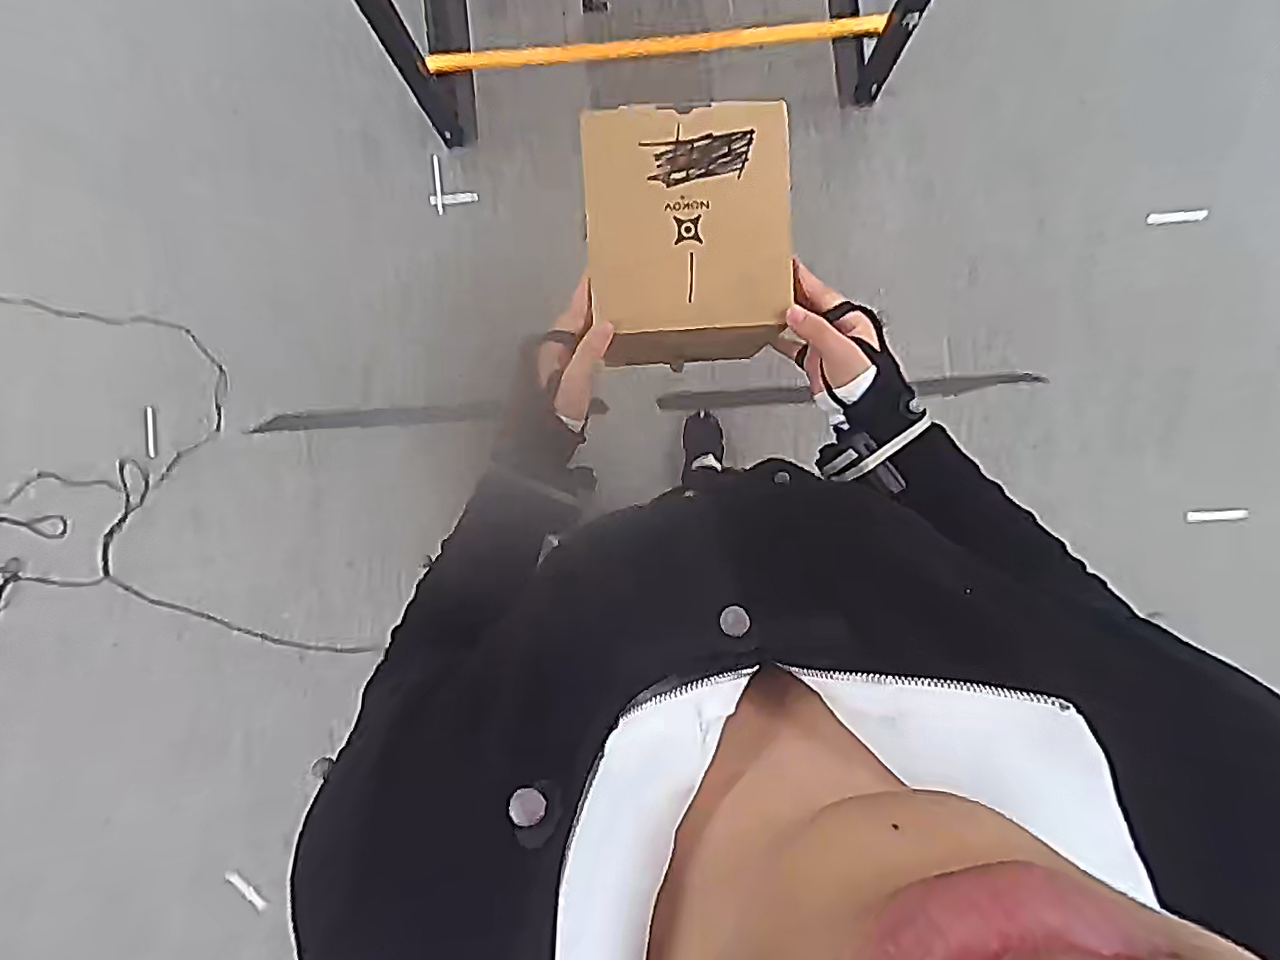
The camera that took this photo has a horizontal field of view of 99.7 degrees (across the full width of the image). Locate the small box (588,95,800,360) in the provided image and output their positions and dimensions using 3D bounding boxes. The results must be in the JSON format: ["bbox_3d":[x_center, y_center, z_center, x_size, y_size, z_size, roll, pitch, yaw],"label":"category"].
[{"bbox_3d":[0.042,-0.219,0.511,0.168,0.176,0.179,-4,93,0],"label":"small box"}]
